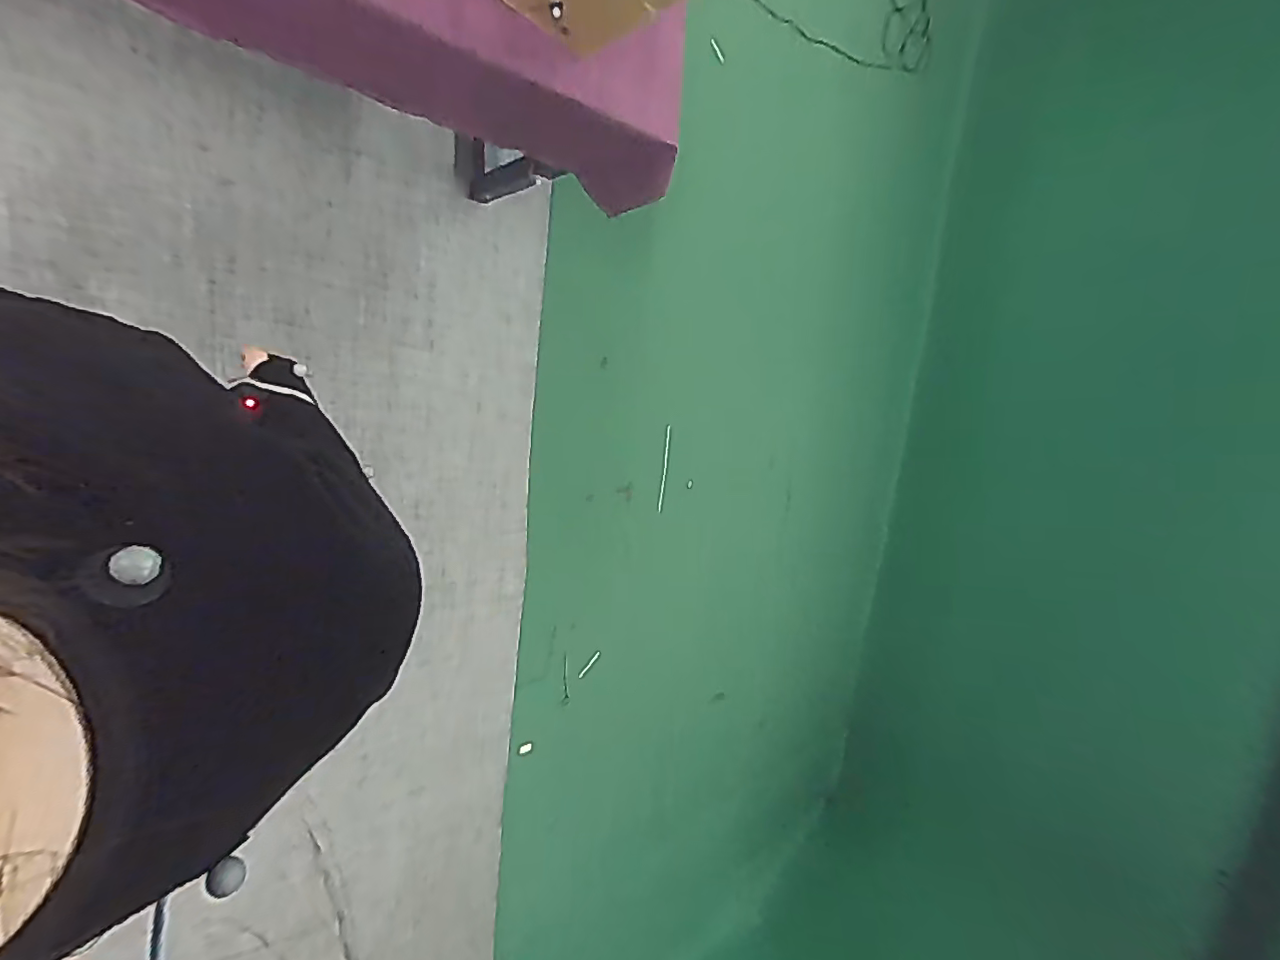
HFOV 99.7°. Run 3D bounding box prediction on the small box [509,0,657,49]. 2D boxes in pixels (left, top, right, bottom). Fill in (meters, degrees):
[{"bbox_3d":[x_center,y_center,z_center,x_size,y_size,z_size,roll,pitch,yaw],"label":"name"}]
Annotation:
[{"bbox_3d":[-0.081,-0.752,0.740,0.168,0.176,0.179,0,101,-44],"label":"small box"}]
